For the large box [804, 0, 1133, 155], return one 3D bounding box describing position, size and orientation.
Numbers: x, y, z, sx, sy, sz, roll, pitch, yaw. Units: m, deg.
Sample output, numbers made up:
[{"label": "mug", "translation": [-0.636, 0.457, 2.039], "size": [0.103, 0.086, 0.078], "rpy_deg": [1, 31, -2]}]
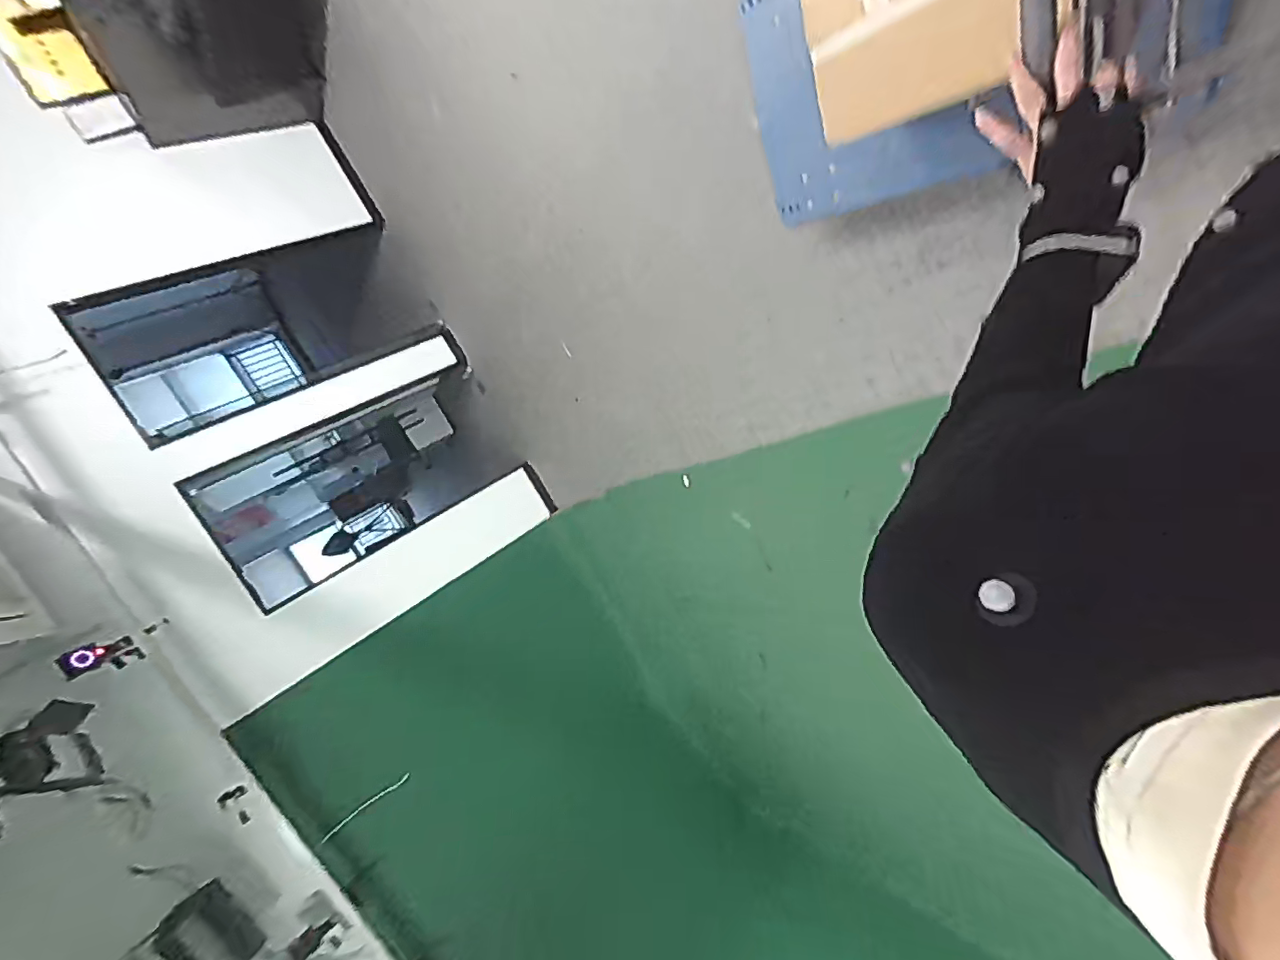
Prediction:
[{"label": "large box", "translation": [0.564, -0.834, 0.947], "size": [0.408, 0.320, 0.320], "rpy_deg": [13, 129, 51]}]
